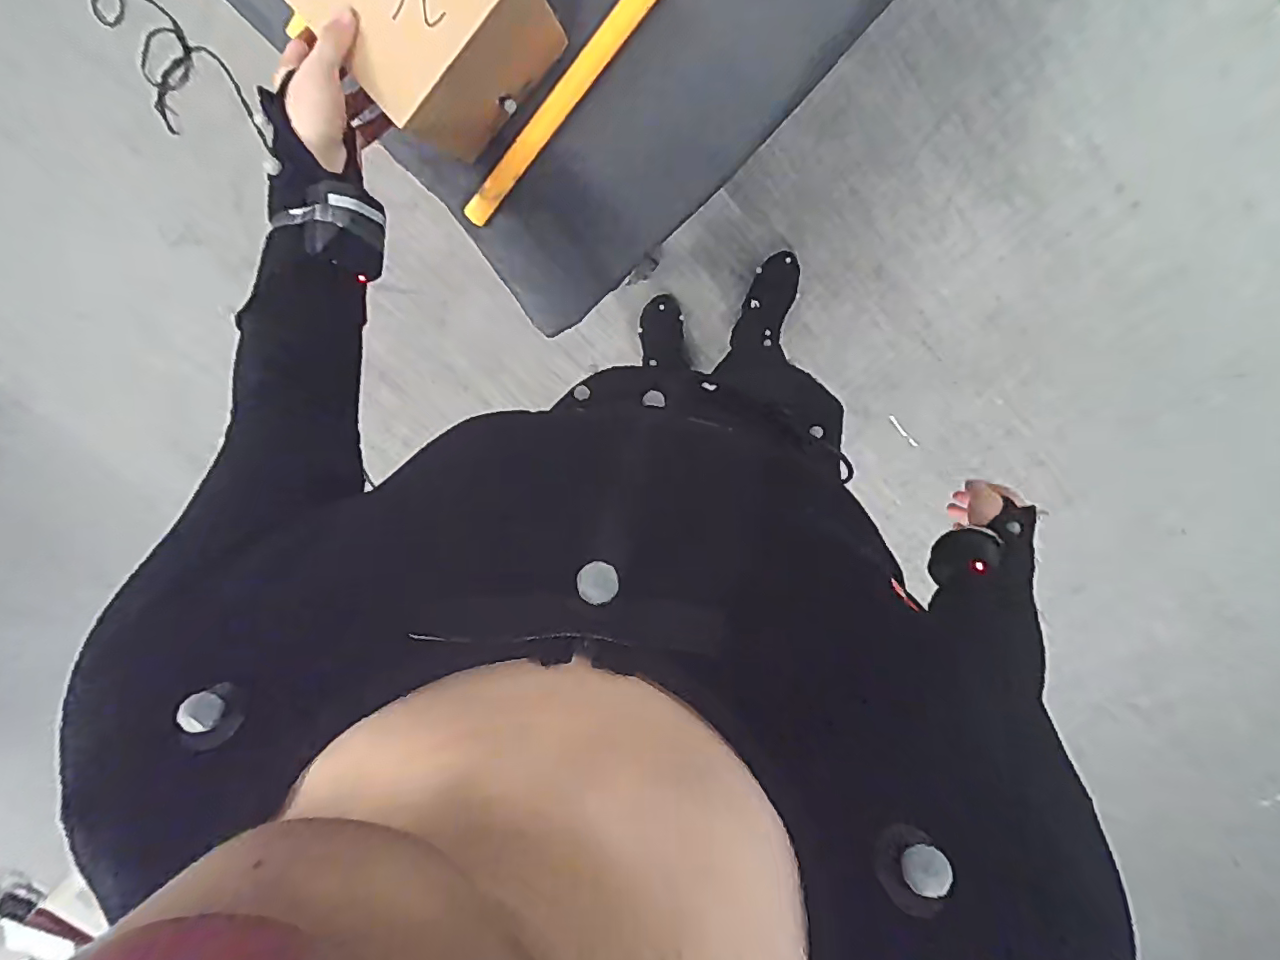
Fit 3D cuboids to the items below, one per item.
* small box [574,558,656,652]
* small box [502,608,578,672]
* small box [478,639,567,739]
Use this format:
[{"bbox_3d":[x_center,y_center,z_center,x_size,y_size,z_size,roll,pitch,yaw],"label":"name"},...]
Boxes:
[{"bbox_3d":[-0.066,0.367,1.610,0.168,0.176,0.179,-37,103,18],"label":"small box"},{"bbox_3d":[-0.313,0.540,1.709,0.168,0.176,0.179,40,111,-10],"label":"small box"},{"bbox_3d":[-0.328,0.594,1.554,0.168,0.176,0.179,39,112,-10],"label":"small box"}]
